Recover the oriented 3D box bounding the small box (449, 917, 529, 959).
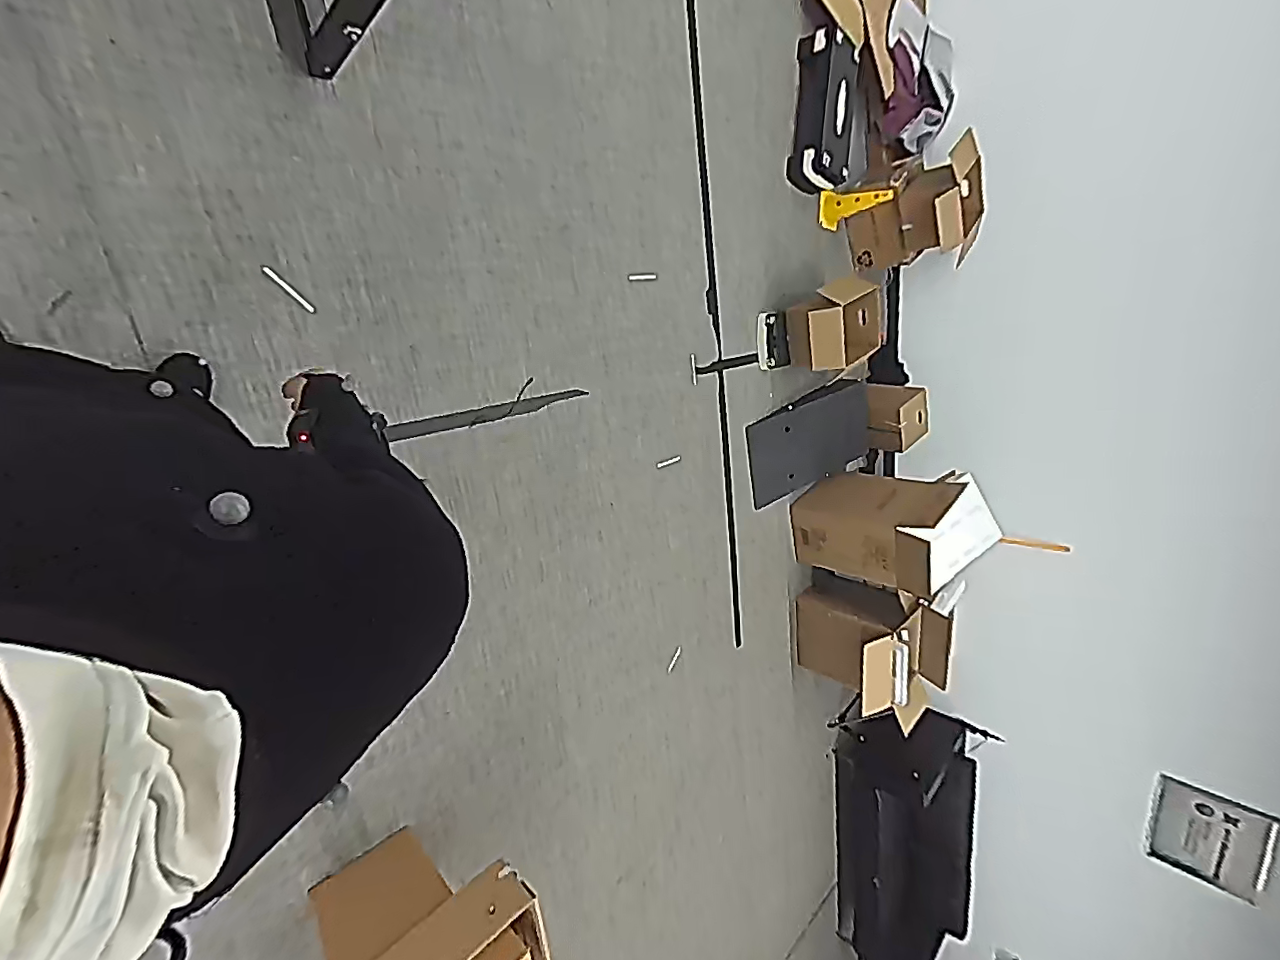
[{"bbox_3d":[-0.418,1.411,1.534,0.168,0.176,0.179,-23,114,-41],"label":"small box"}]
